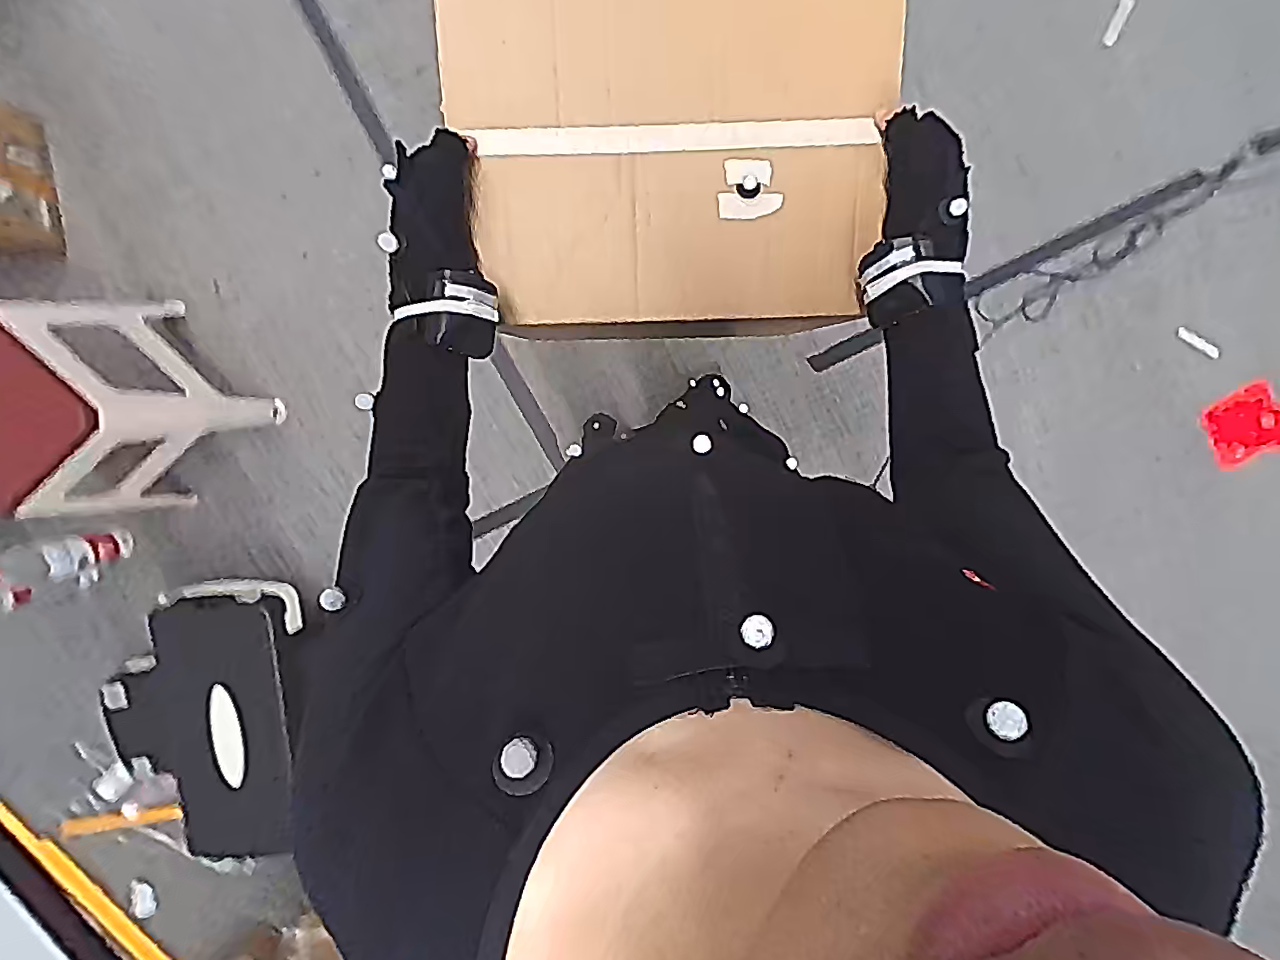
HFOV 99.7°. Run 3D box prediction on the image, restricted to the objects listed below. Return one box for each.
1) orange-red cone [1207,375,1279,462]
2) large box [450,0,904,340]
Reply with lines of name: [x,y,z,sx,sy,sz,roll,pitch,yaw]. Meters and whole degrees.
orange-red cone: [1.724,-0.146,1.360,0.199,0.360,0.198,-30,100,1]
large box: [0.032,-0.339,0.636,0.408,0.320,0.320,-1,102,-1]
